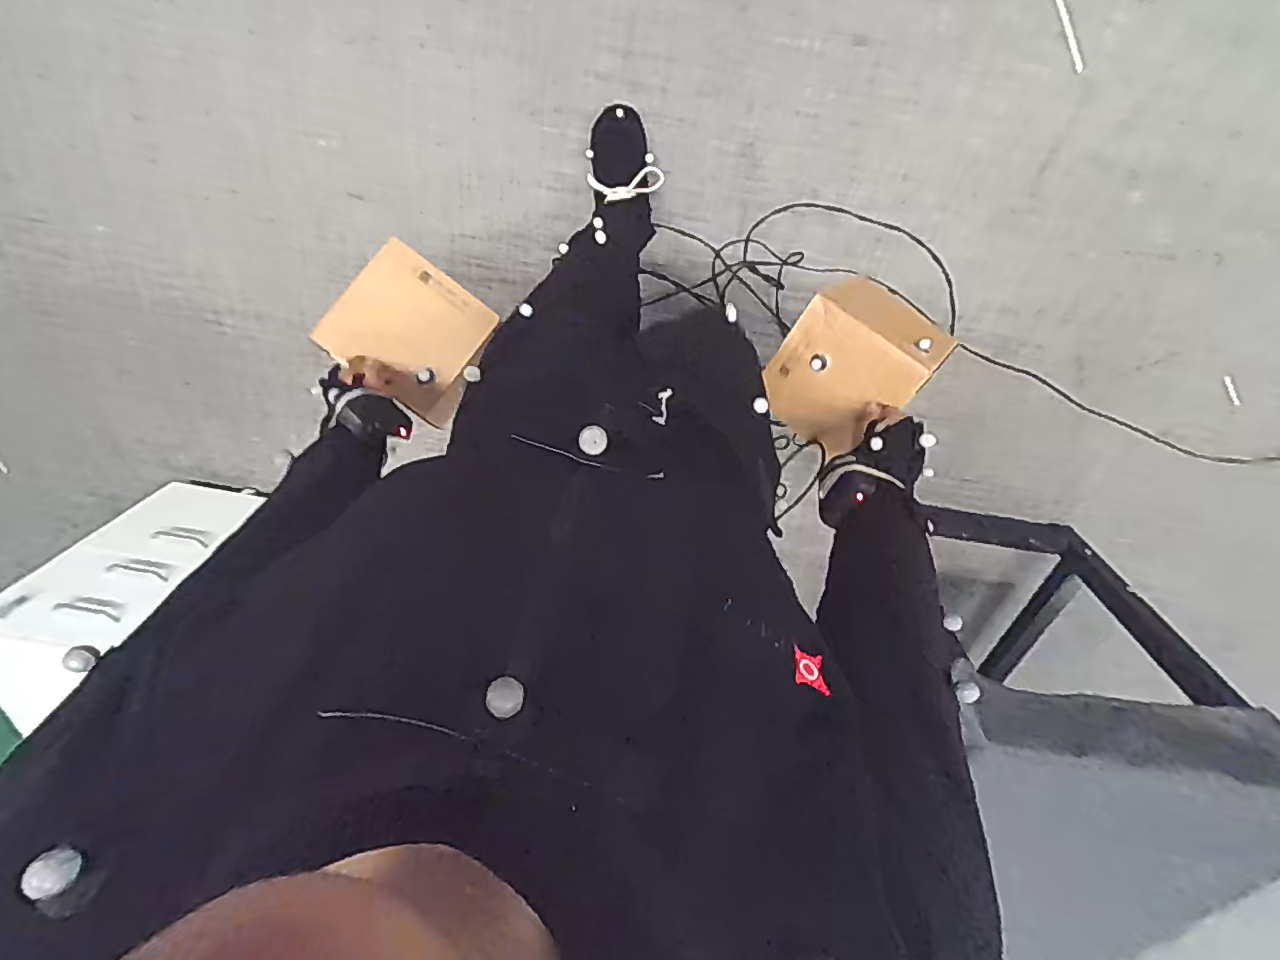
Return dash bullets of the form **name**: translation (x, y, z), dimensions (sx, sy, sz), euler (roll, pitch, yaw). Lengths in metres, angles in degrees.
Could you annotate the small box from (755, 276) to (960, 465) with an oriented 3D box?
- **small box**: translation (0.290, -0.156, 0.732), dimensions (0.176, 0.179, 0.168), euler (44, 132, 13)
